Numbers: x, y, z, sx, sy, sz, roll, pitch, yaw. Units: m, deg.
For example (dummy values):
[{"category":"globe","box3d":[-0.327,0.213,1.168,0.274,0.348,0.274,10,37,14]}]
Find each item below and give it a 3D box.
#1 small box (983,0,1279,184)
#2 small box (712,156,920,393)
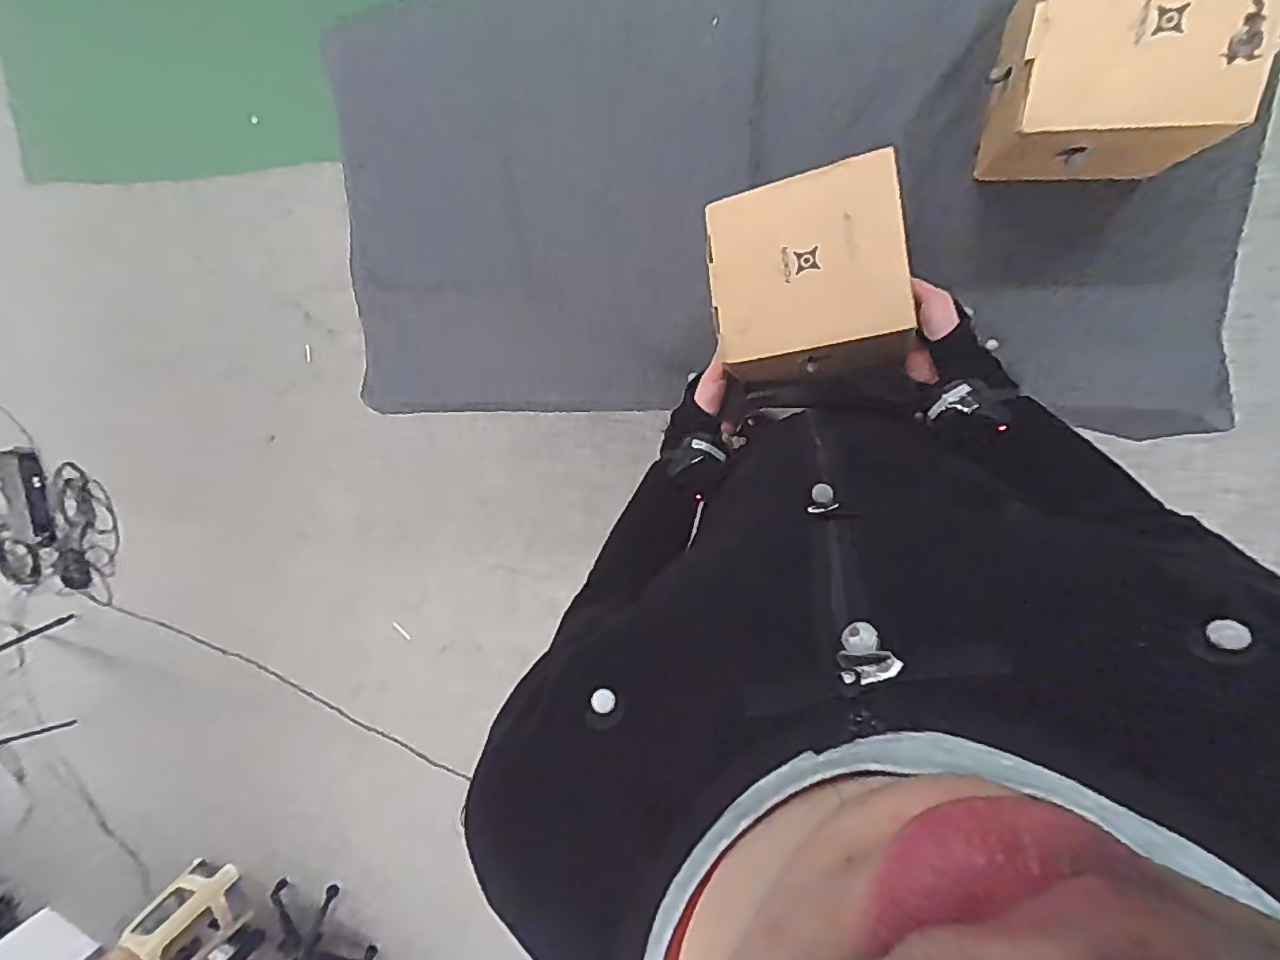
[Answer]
[{"category":"small box","box3d":[0.466,-0.401,0.531,0.179,0.176,0.168,10,107,18]},{"category":"small box","box3d":[0.188,-0.197,0.580,0.179,0.176,0.168,-7,87,21]}]
